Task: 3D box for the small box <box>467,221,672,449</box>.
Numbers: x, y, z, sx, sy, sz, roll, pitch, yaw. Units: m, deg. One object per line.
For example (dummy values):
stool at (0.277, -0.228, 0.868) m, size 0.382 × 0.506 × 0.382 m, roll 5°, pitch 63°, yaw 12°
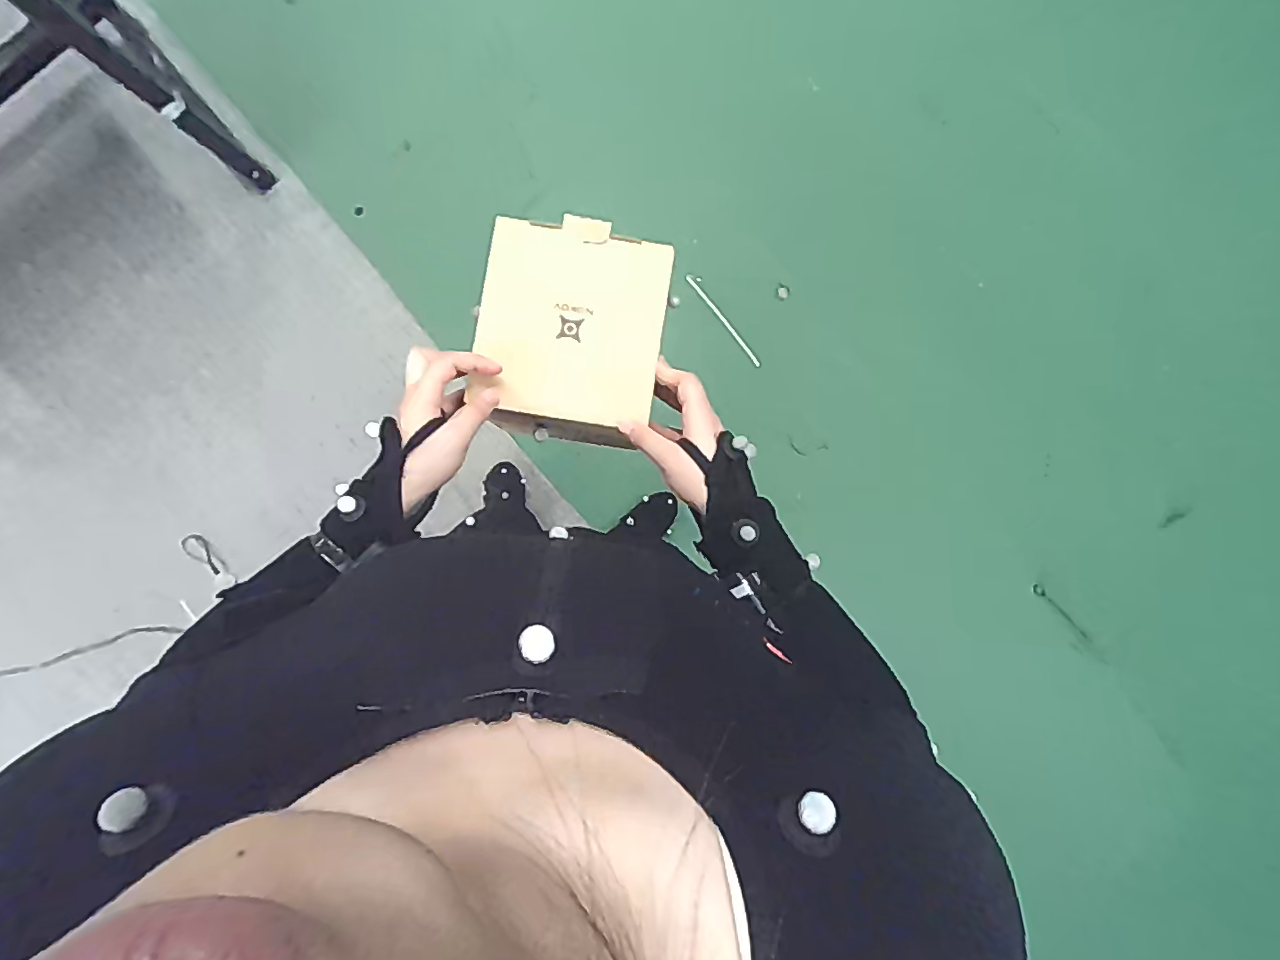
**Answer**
small box at (-0.065, -0.132, 0.560) m, size 0.168 × 0.176 × 0.179 m, roll 7°, pitch 86°, yaw -3°
